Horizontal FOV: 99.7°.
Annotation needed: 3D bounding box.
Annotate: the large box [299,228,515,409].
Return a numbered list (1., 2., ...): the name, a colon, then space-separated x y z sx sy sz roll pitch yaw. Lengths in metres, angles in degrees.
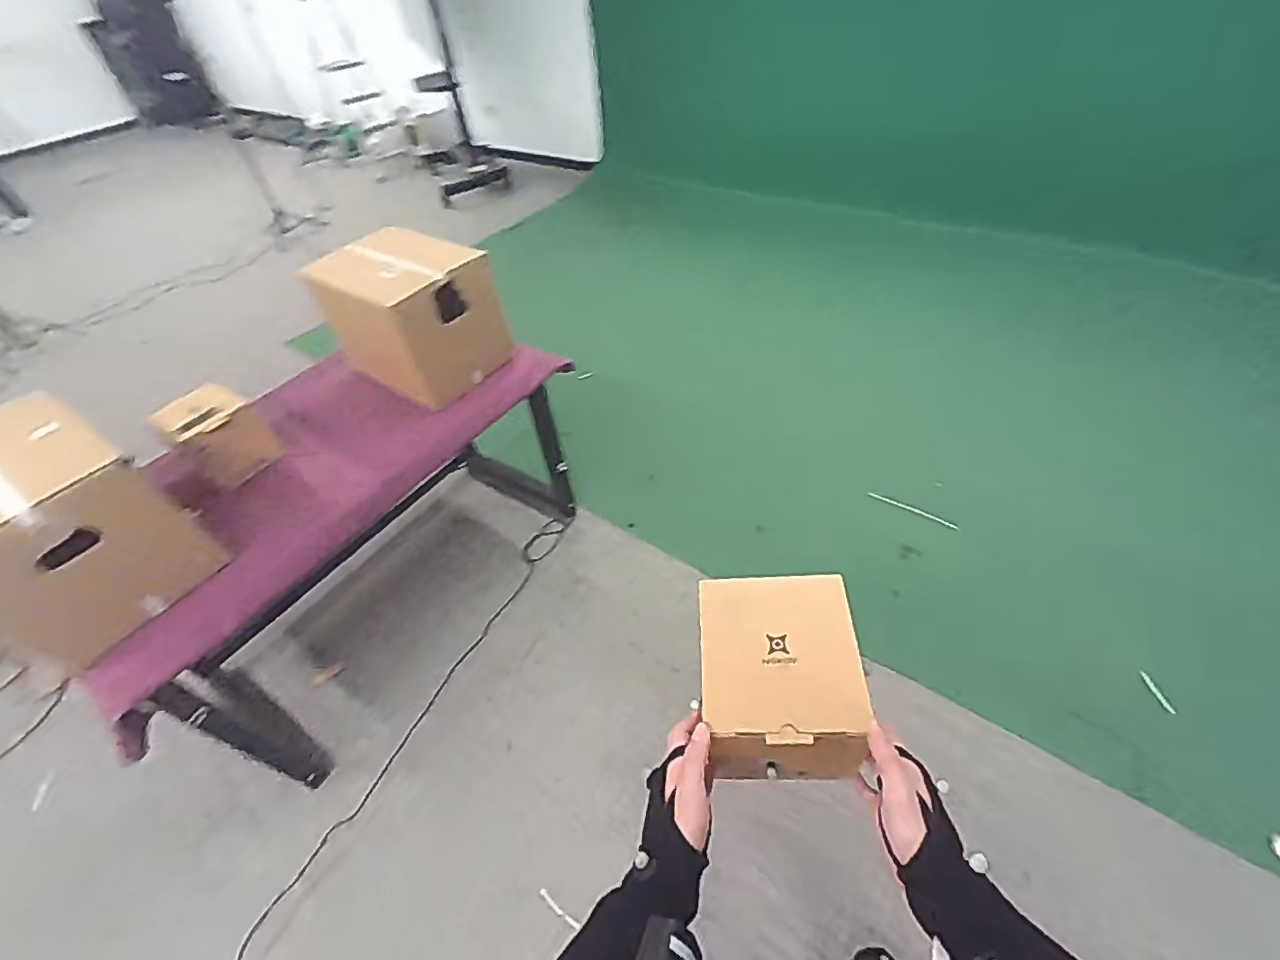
1. large box: -0.622 -0.451 1.491 0.408 0.320 0.320 25 55 25

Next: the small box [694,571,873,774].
1. small box: 0.150 0.227 0.630 0.168 0.176 0.179 -5 50 6
